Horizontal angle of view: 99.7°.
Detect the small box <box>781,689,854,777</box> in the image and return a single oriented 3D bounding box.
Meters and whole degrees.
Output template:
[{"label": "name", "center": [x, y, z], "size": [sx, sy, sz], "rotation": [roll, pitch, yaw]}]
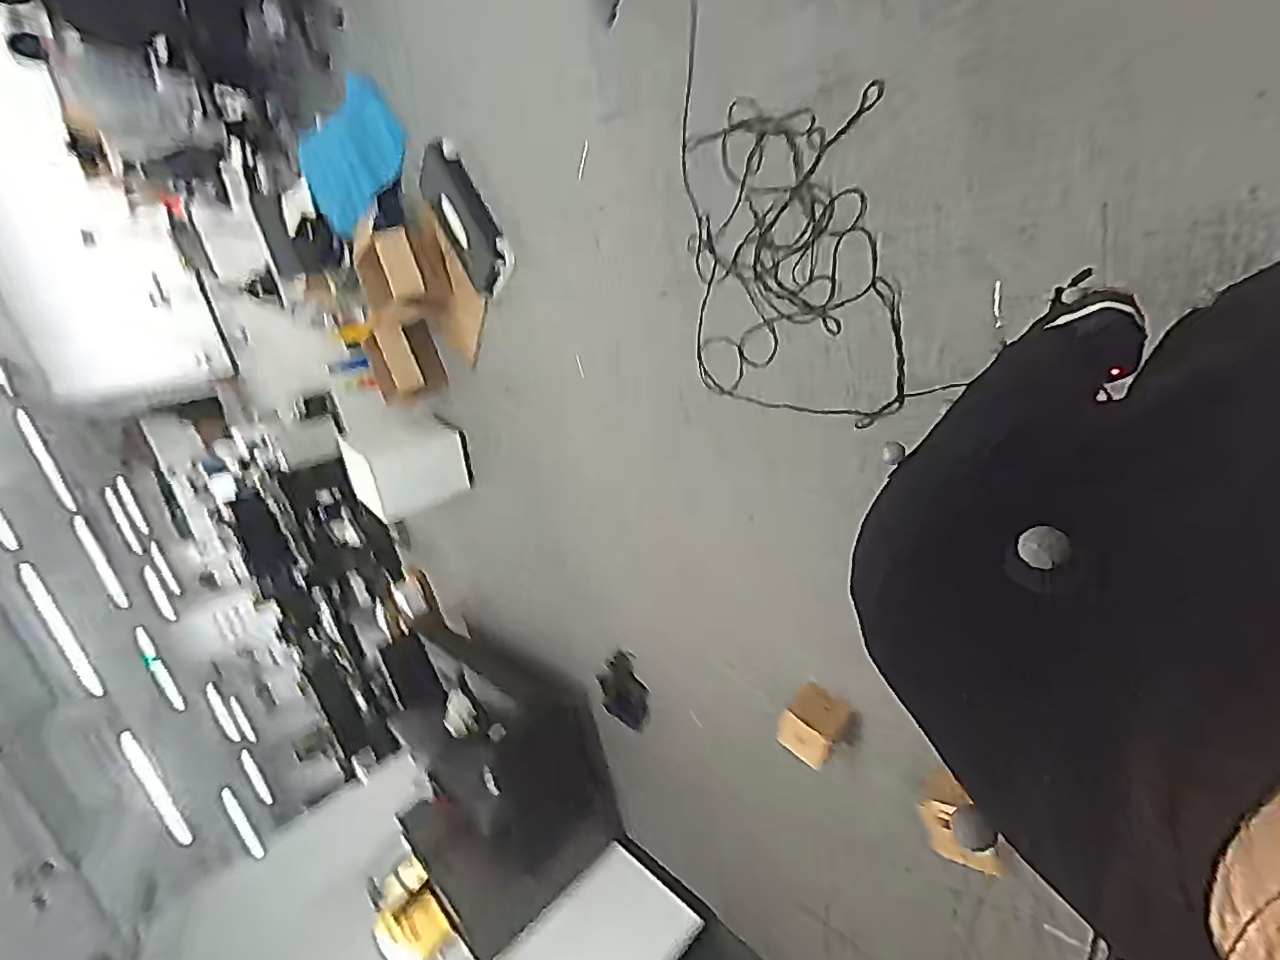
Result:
[{"label": "small box", "center": [0.610, 0.862, 1.857], "size": [0.168, 0.176, 0.179], "rotation": [28, 129, 39]}]
